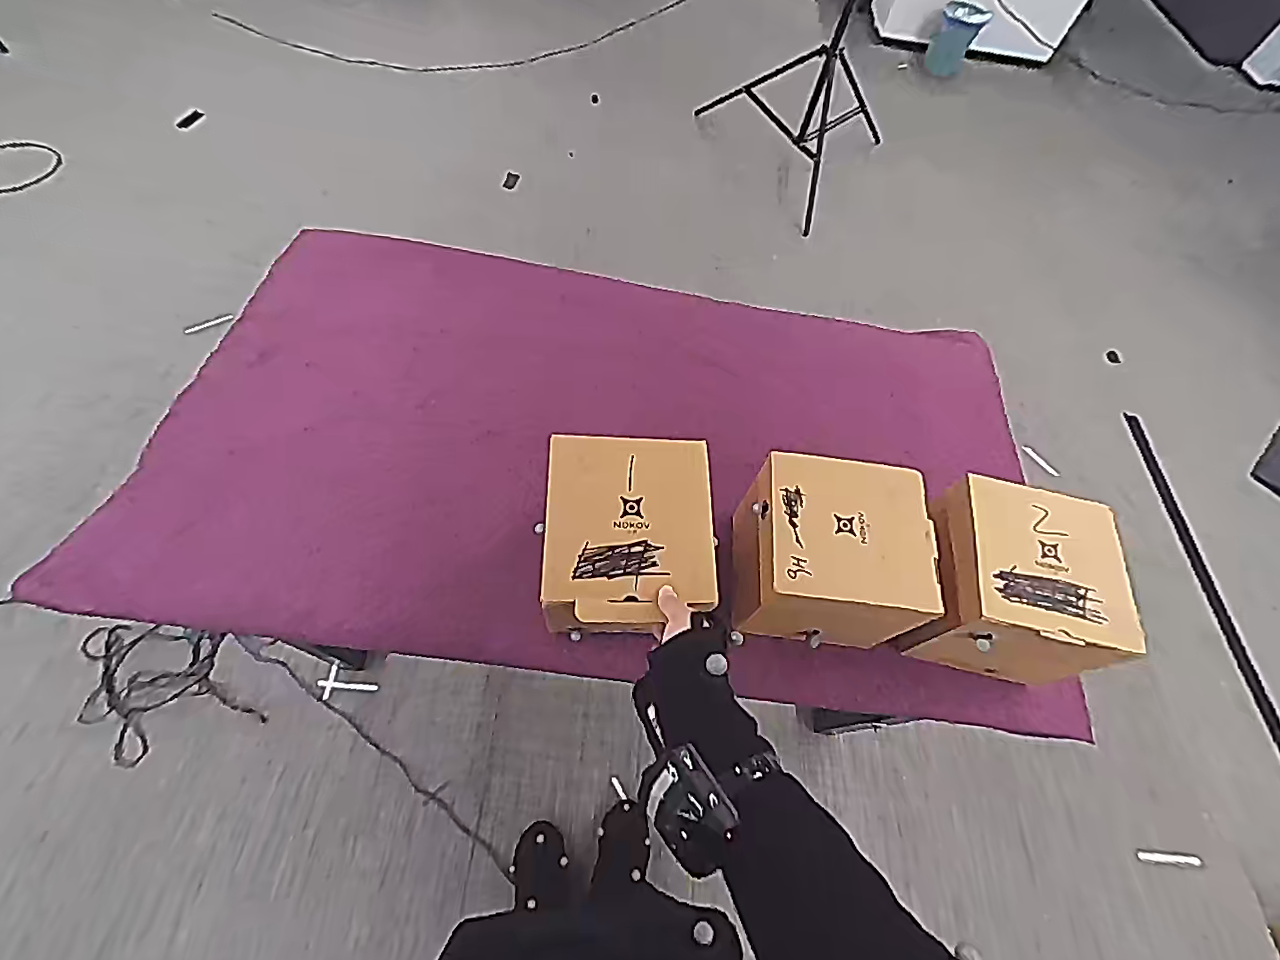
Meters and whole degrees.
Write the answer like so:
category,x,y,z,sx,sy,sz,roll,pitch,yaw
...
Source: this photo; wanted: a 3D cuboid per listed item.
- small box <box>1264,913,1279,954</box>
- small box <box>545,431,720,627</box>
category,x,y,z,sx,sy,sz,roll,pitch,yaw
small box,1.502,1.029,1.126,0.168,0.176,0.179,2,61,-7
small box,-0.013,0.064,0.601,0.168,0.176,0.179,2,65,-6
